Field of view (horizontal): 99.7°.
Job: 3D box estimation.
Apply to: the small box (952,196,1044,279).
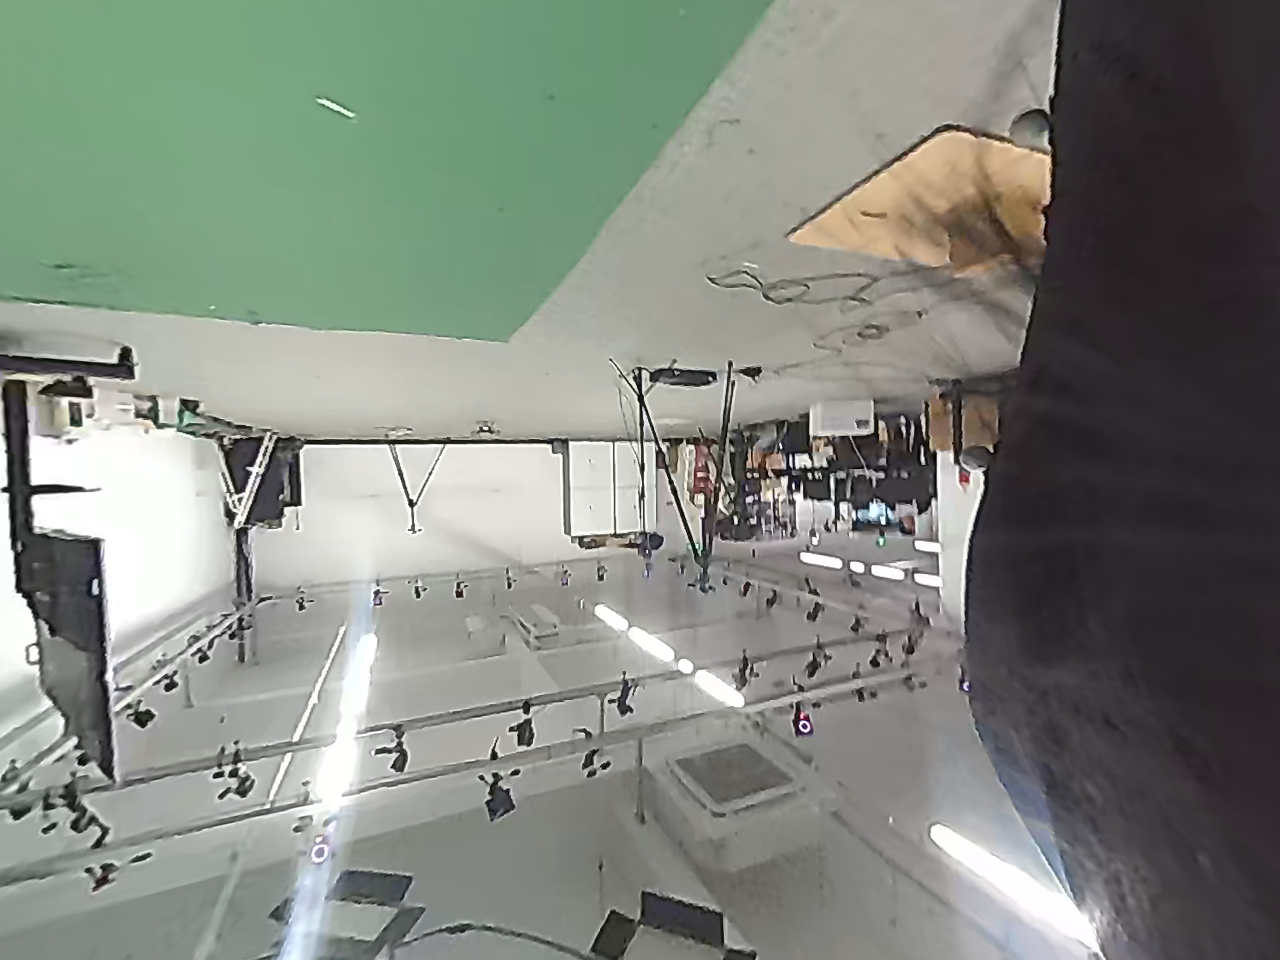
[{"bbox_3d":[1.058,-0.718,1.609,0.168,0.176,0.179,-2,-179,-19],"label":"small box"}]
